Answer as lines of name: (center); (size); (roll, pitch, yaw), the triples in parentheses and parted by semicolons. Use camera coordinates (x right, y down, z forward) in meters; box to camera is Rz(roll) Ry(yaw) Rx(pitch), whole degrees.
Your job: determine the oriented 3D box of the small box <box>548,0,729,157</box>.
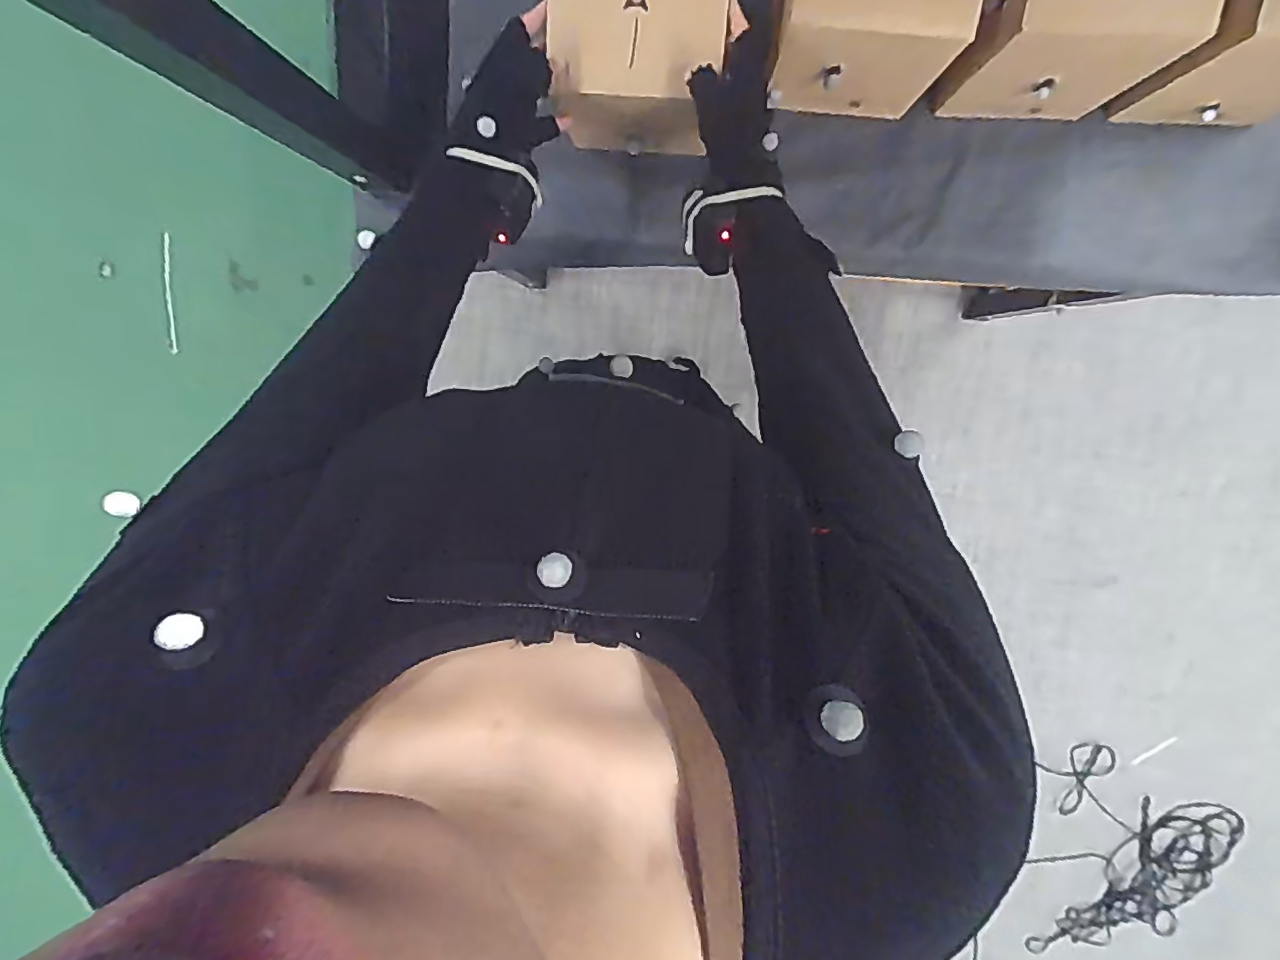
small box: (0.003, -0.467, 0.567); (0.168, 0.176, 0.179); (5, 106, 2)
